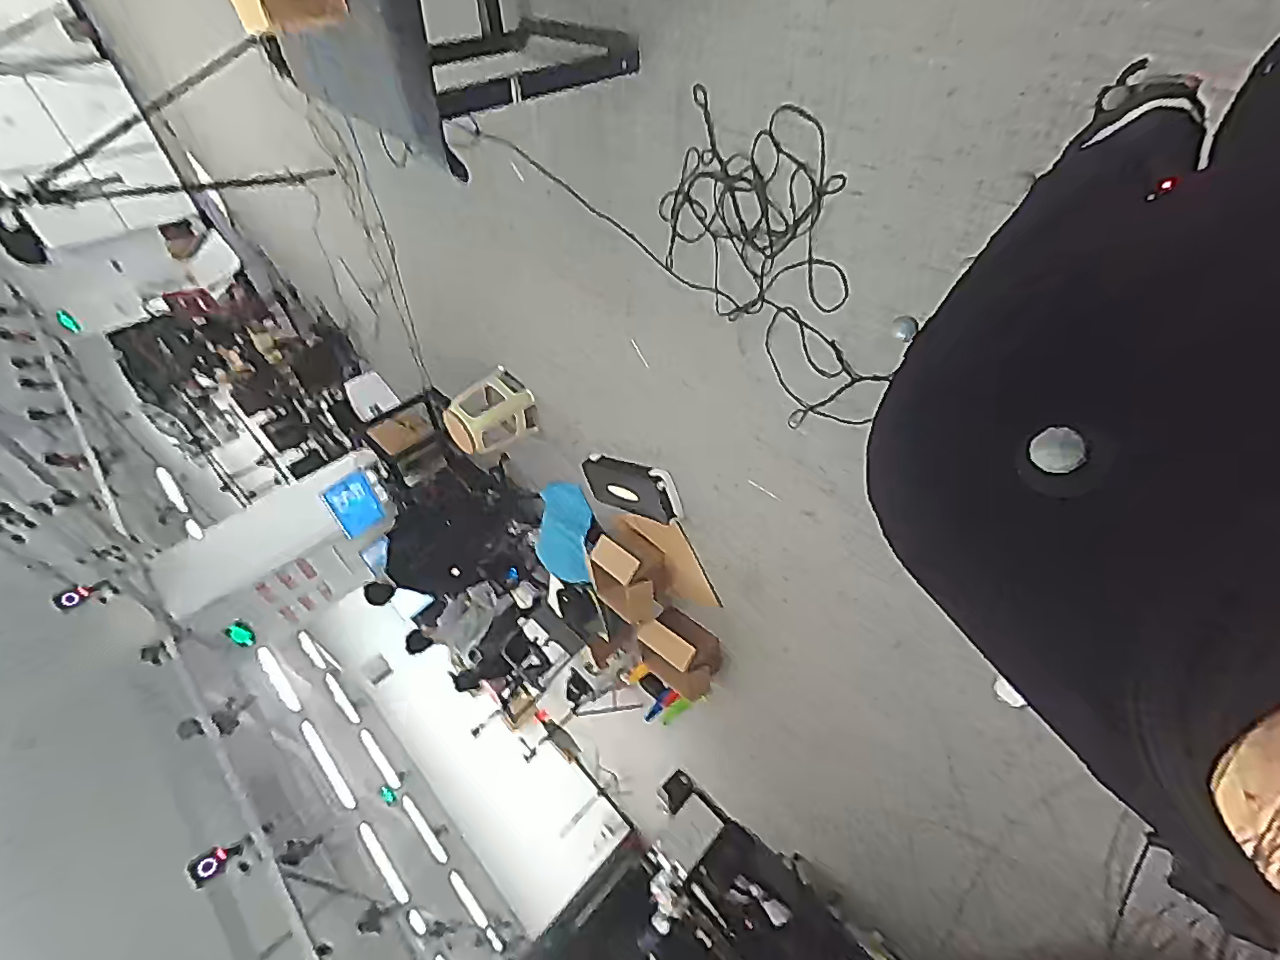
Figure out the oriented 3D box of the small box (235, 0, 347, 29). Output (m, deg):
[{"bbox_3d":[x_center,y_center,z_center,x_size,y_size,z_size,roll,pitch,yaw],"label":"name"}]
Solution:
[{"bbox_3d":[-0.728,-1.030,1.088,0.179,0.176,0.168,28,143,38],"label":"small box"}]
